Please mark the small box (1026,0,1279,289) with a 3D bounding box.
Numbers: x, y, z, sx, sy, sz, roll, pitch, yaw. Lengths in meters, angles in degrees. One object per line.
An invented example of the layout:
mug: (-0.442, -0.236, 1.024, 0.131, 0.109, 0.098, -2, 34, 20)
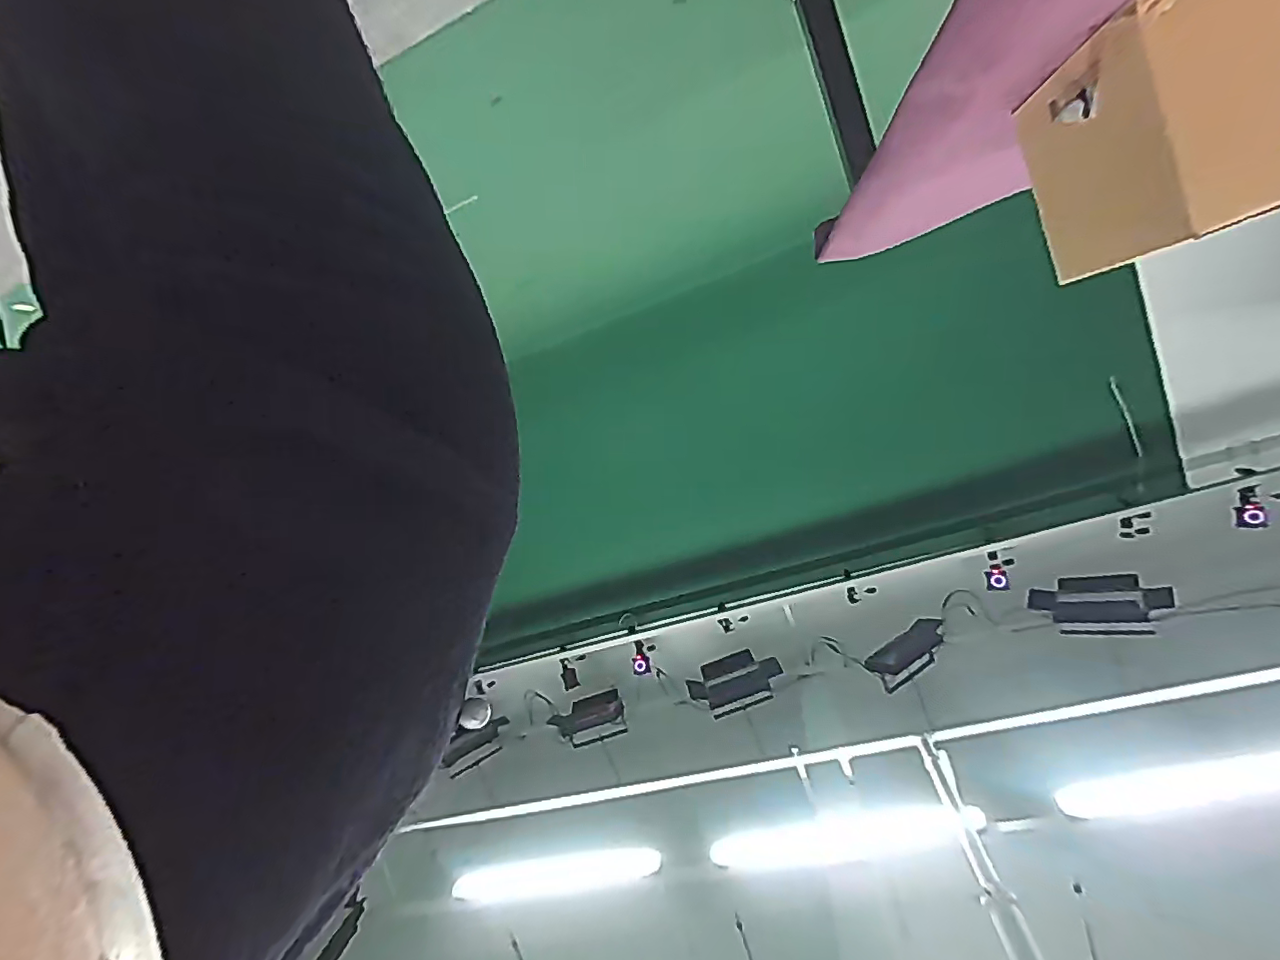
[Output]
small box: (0.439, -0.269, 0.404, 0.179, 0.176, 0.168, -19, -174, 13)
